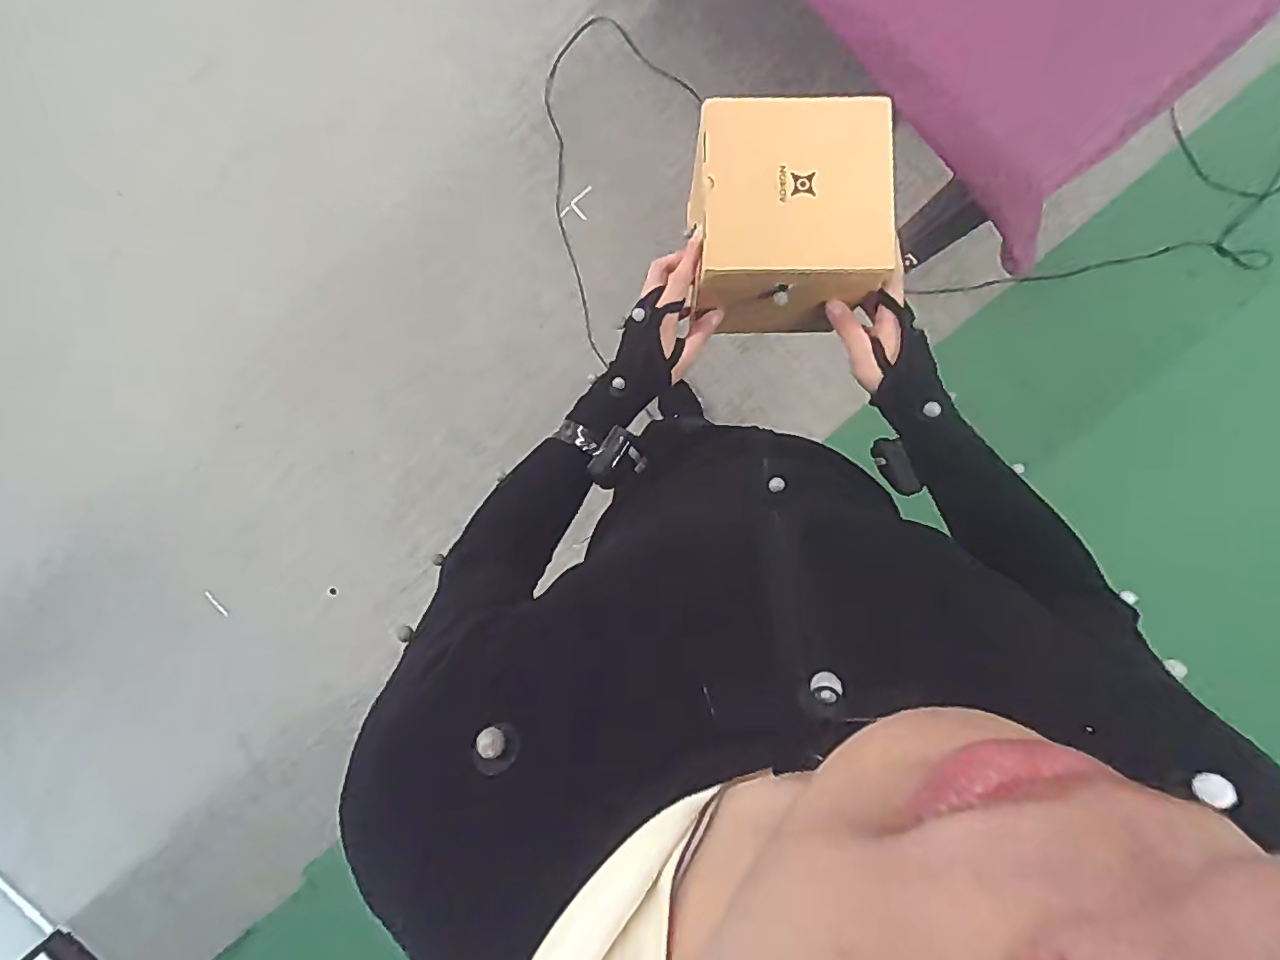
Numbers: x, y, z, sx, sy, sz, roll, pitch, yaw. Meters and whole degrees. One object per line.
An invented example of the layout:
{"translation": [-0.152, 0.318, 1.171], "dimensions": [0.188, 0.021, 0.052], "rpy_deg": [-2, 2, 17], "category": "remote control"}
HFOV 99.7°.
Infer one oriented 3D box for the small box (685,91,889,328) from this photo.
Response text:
{"translation": [0.140, -0.268, 0.571], "dimensions": [0.179, 0.176, 0.168], "rpy_deg": [0, 86, 2], "category": "small box"}
